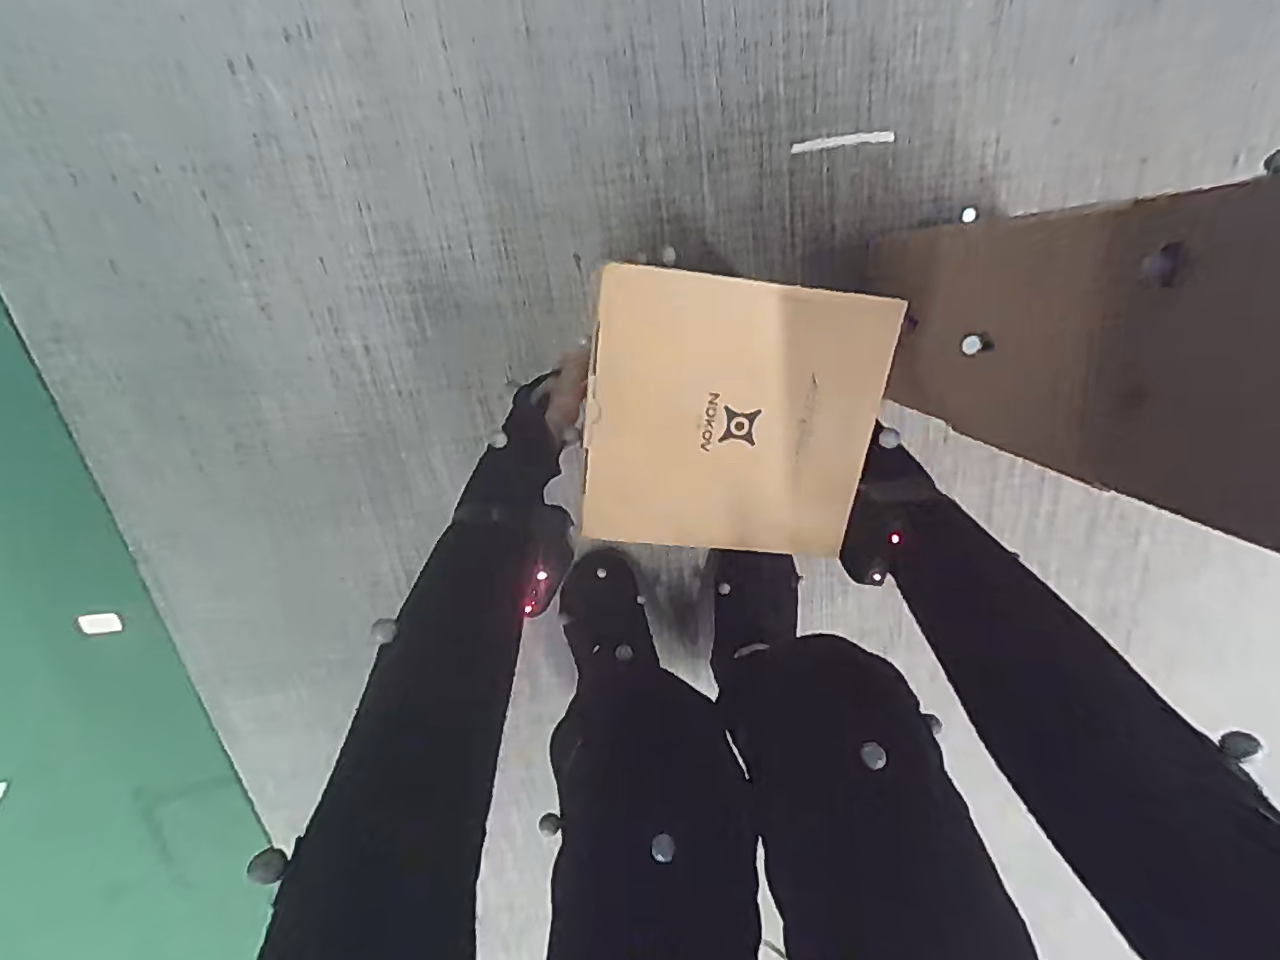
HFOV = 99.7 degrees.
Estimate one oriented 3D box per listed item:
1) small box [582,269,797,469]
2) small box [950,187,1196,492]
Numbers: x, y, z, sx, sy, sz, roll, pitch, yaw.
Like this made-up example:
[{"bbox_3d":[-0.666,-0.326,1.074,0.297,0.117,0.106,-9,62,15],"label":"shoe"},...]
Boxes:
[{"bbox_3d":[0.033,-0.118,0.545,0.179,0.176,0.168,3,110,-5],"label":"small box"},{"bbox_3d":[0.357,-0.112,0.397,0.168,0.176,0.179,-10,111,-2],"label":"small box"}]
